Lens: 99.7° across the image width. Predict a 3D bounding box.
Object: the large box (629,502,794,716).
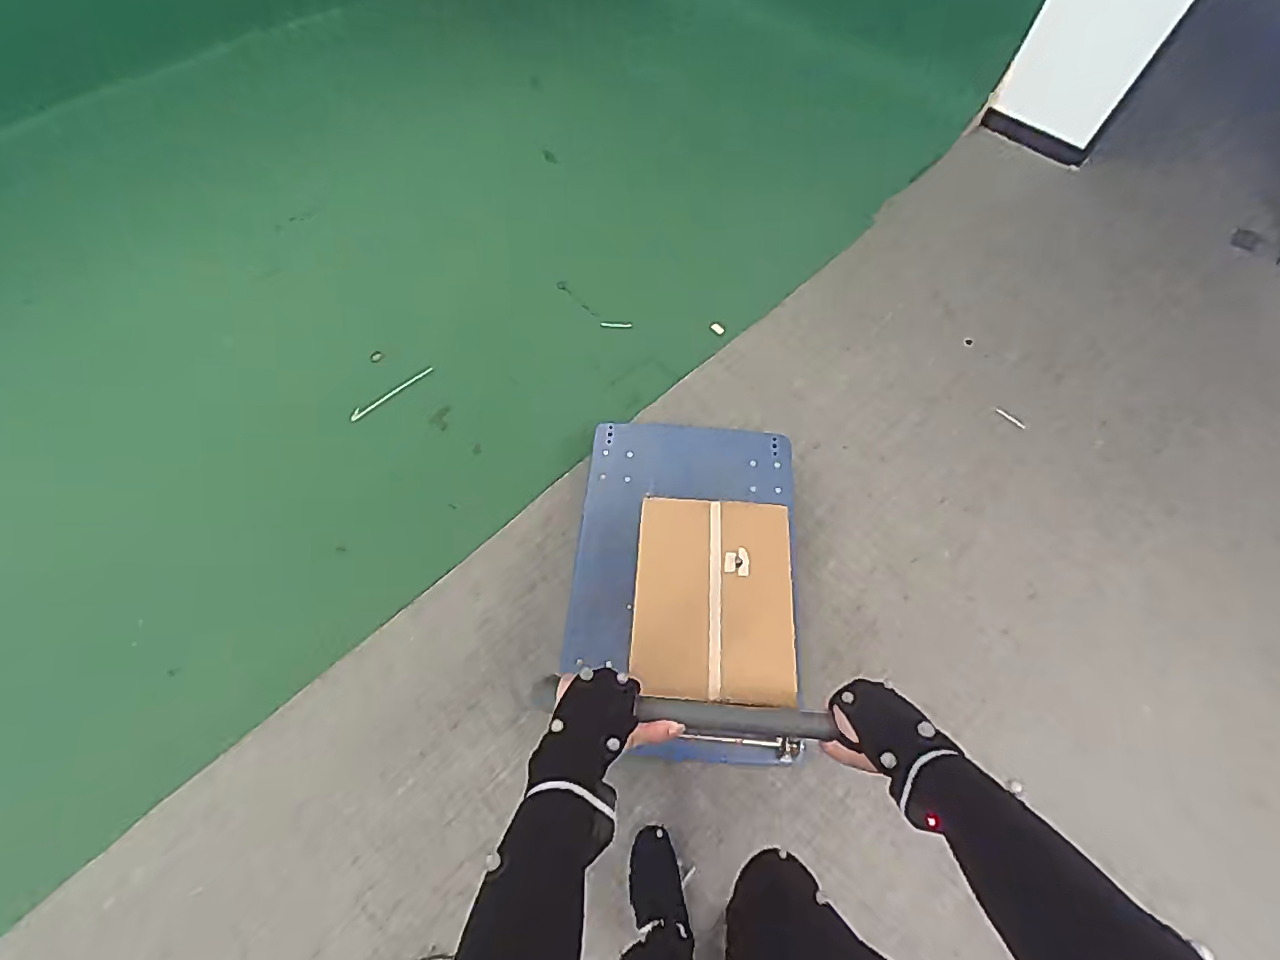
[{"bbox_3d":[0.146,0.301,1.224,0.320,0.320,0.408,4,63,1],"label":"large box"}]
